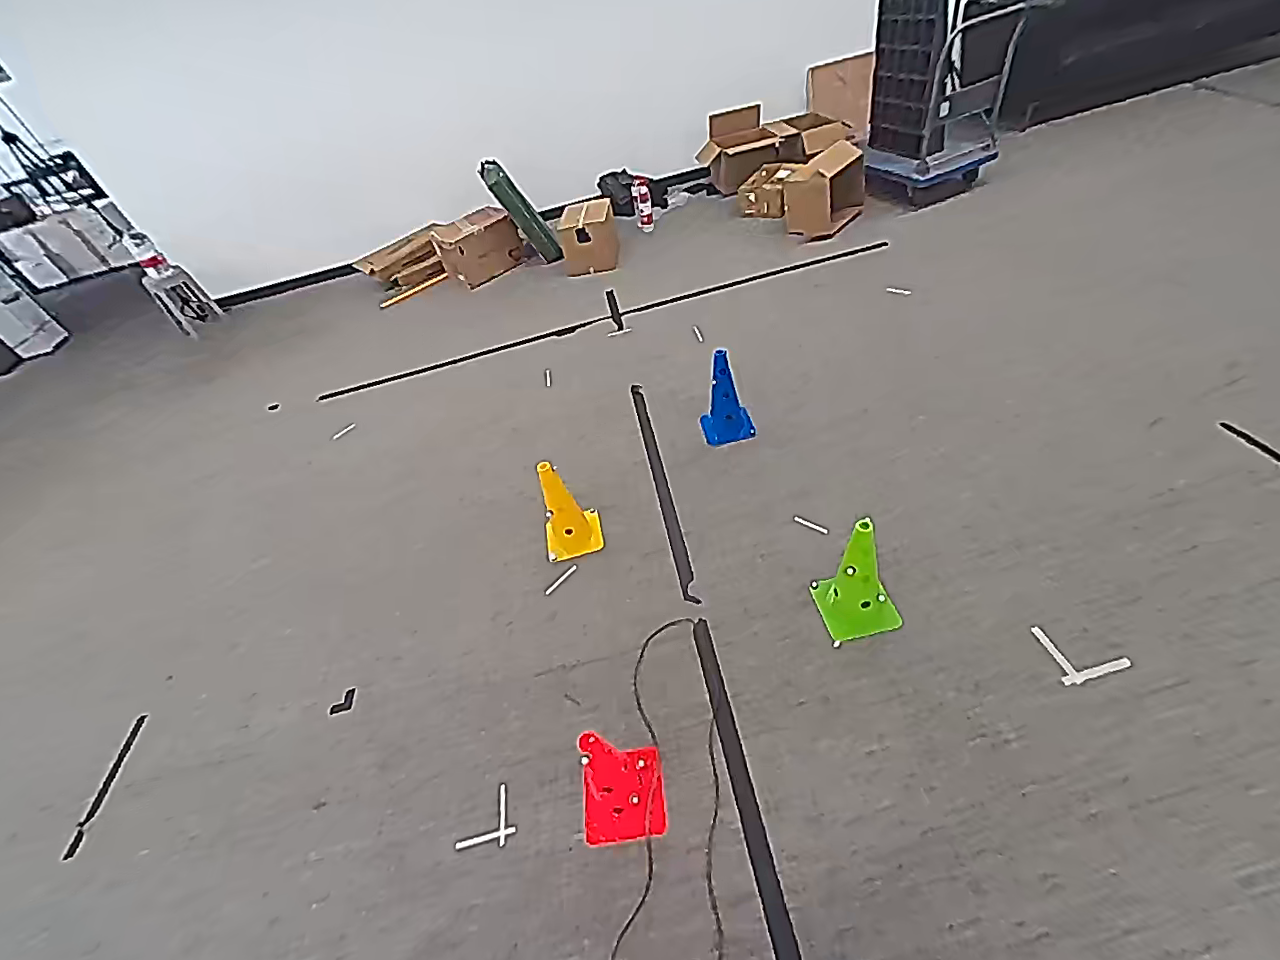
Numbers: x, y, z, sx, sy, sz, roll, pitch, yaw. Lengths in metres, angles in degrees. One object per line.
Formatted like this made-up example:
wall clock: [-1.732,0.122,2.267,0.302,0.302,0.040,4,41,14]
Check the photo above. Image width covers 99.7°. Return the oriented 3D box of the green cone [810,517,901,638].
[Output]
green cone: [0.587,0.234,1.444,0.202,0.368,0.200,-14,44,0]

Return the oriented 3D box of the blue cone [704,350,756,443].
blue cone: [0.337,-0.339,2.118,0.192,0.380,0.193,-11,44,3]

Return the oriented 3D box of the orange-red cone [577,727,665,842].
orange-red cone: [-0.076,0.648,1.216,0.199,0.360,0.198,-12,42,5]
